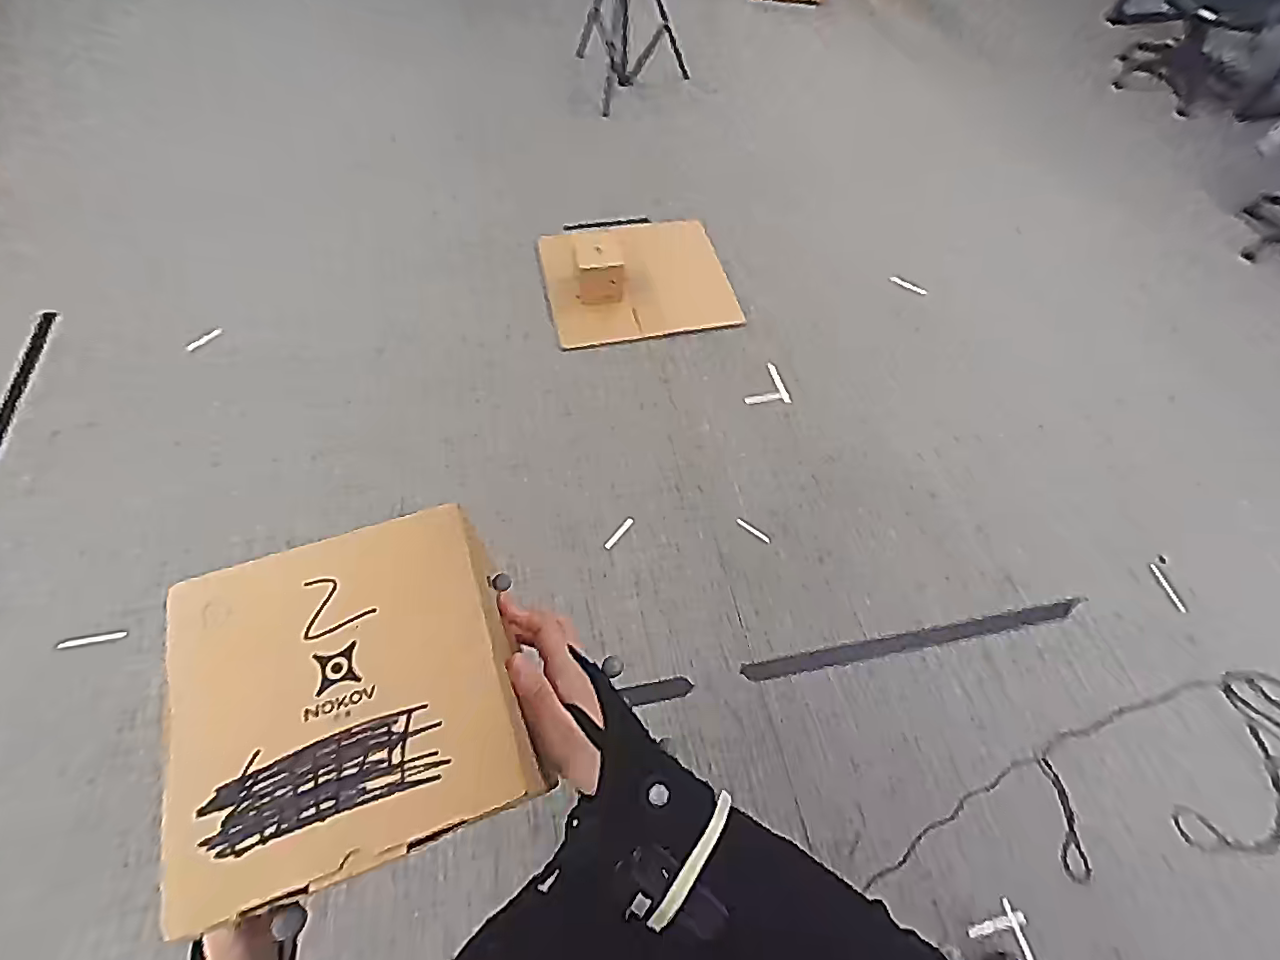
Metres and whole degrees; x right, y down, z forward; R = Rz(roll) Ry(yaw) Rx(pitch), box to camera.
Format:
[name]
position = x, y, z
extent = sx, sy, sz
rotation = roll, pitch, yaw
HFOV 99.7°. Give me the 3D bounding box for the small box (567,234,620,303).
[small box]
position = -0.169, -0.770, 1.985
extent = 0.168, 0.176, 0.179
rotation = -9, 61, -11
